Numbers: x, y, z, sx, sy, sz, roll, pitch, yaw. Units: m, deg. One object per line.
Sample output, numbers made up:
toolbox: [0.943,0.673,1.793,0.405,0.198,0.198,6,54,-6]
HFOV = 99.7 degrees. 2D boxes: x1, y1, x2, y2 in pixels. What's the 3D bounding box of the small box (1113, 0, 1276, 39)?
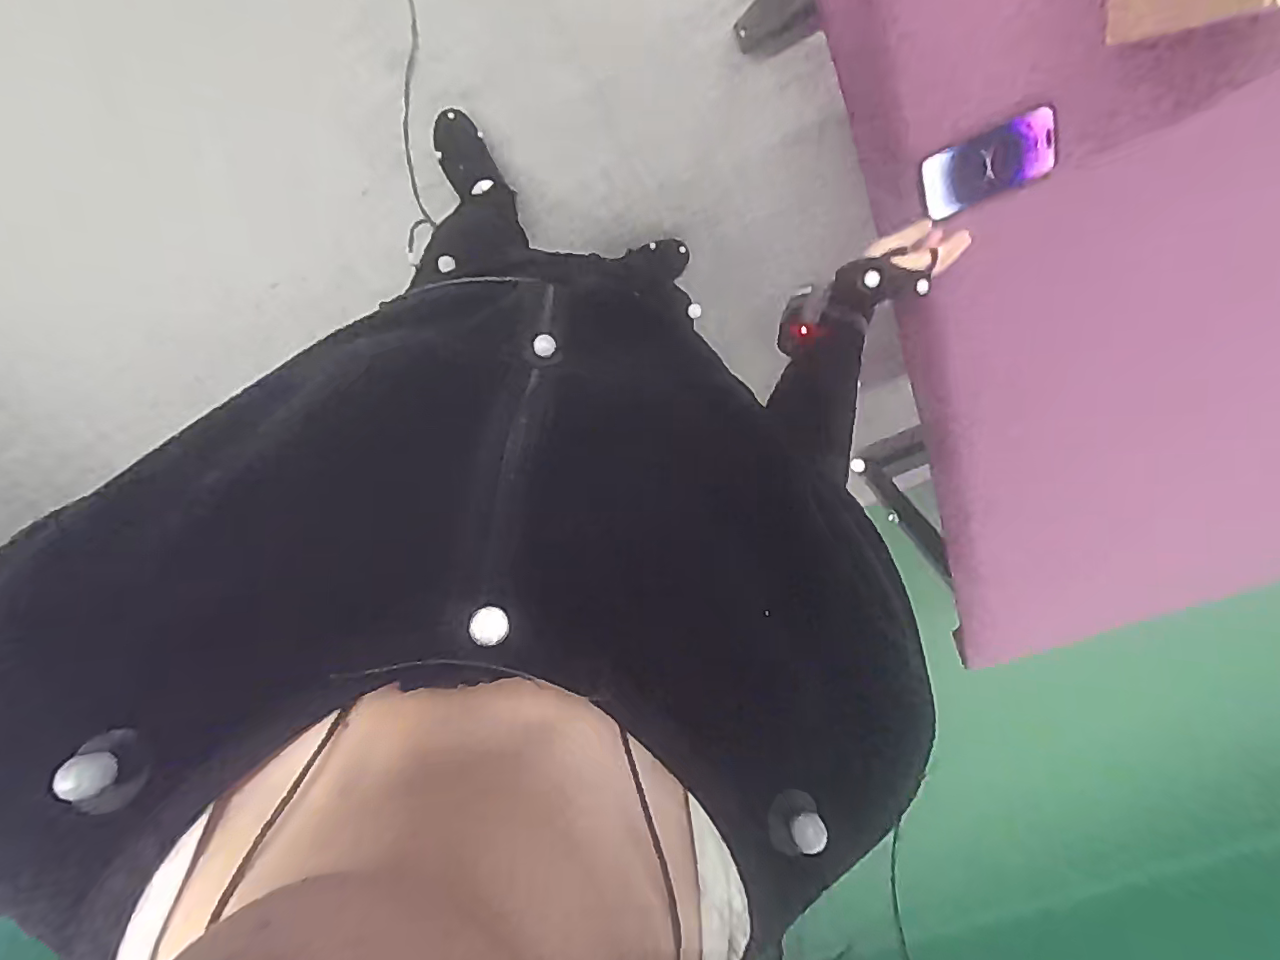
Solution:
small box: [0.544,-0.510,0.448,0.179,0.176,0.168,-21,119,10]
